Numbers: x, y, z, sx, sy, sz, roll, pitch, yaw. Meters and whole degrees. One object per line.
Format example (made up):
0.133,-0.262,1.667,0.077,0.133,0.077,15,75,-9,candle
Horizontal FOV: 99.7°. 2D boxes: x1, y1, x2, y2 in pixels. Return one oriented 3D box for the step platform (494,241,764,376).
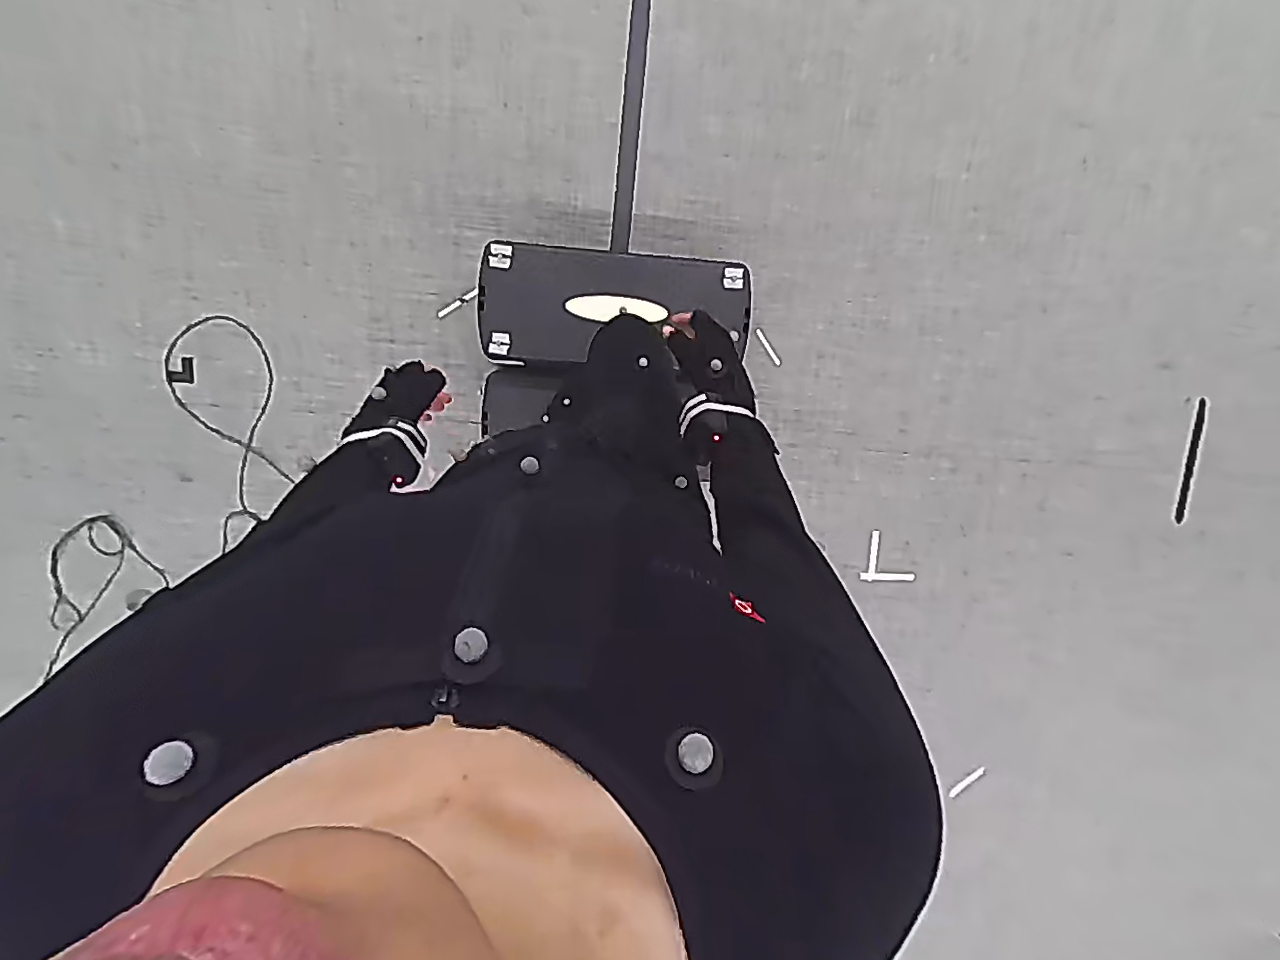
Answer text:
-0.027,-0.435,1.406,0.684,0.204,0.286,2,99,-6,step platform
